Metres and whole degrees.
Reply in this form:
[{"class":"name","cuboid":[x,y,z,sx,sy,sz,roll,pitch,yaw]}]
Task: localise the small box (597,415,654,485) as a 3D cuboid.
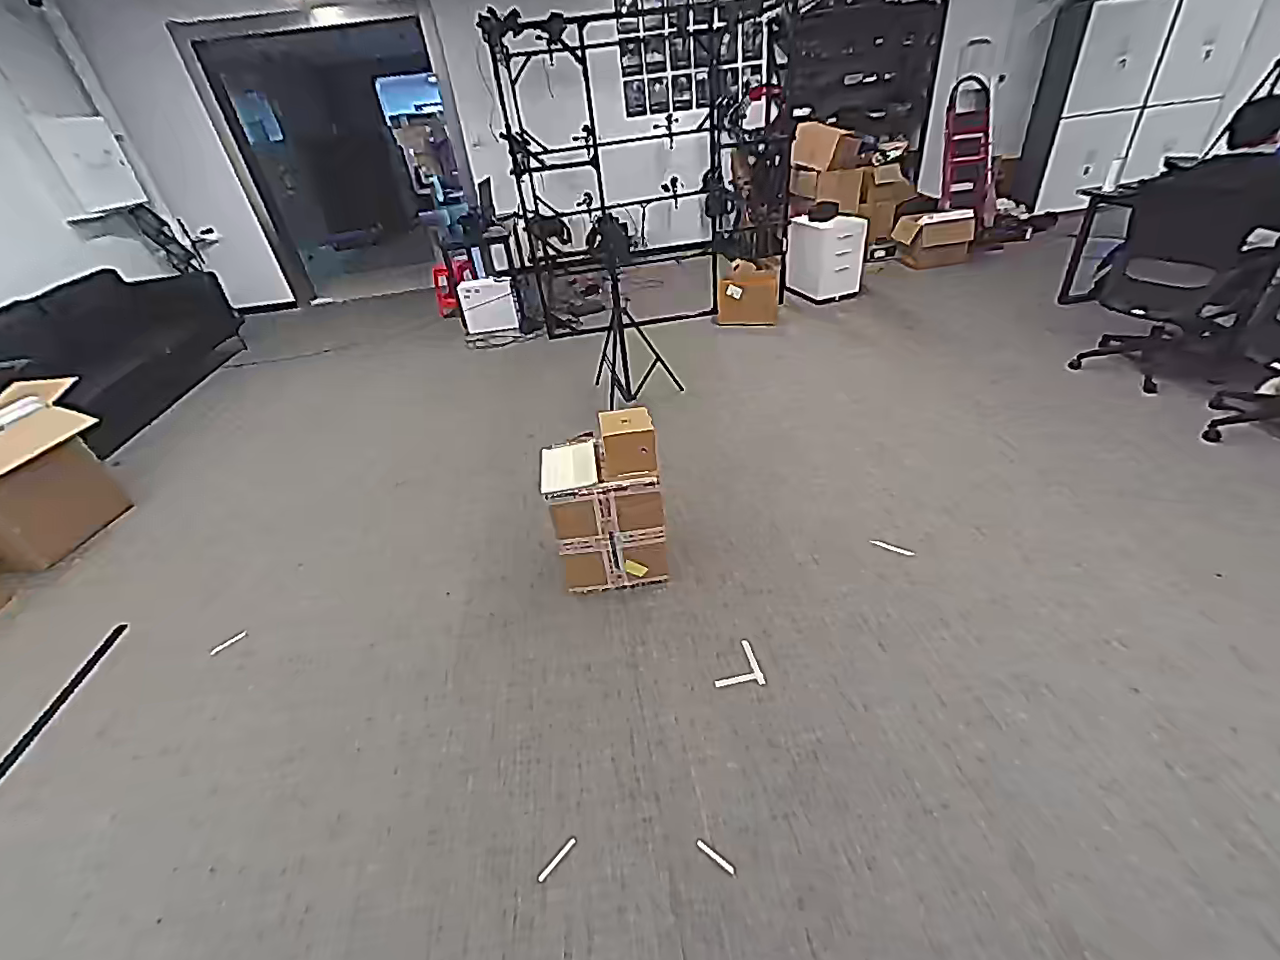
[{"class":"small box","cuboid":[-0.049,-0.103,1.879,0.179,0.176,0.168,-9,36,-5]}]
